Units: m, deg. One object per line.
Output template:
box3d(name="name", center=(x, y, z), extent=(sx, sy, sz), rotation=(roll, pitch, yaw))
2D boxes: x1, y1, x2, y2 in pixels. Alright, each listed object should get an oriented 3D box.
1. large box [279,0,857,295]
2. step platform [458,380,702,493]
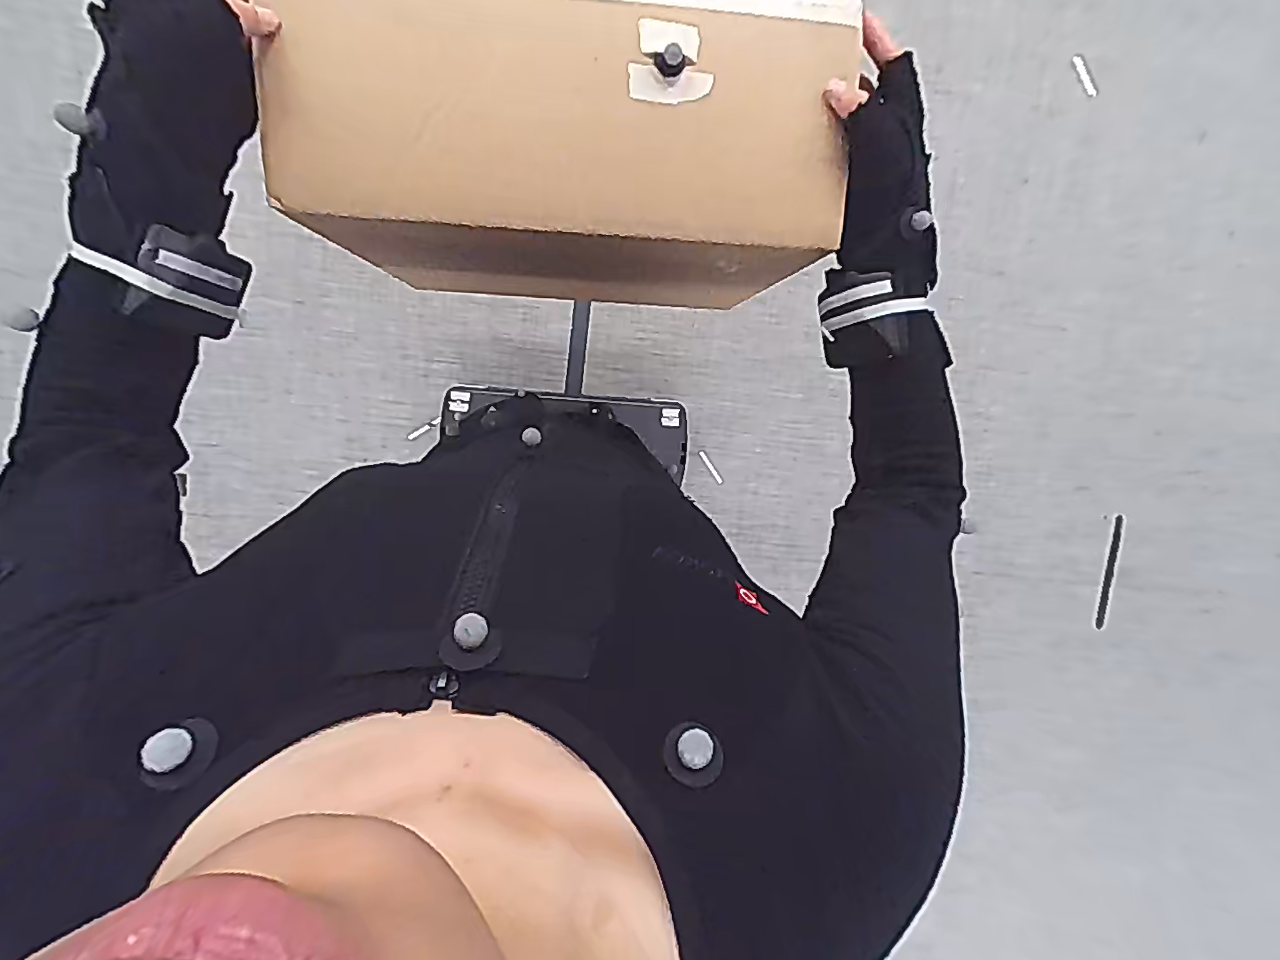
box3d(name="large box", center=(-0.057, -0.367, 0.517), extent=(0.408, 0.320, 0.320), rotation=(1, 101, -7))
box3d(name="step platform", center=(-0.164, -0.124, 1.555), extent=(0.684, 0.204, 0.286), rotation=(3, 98, -5))
